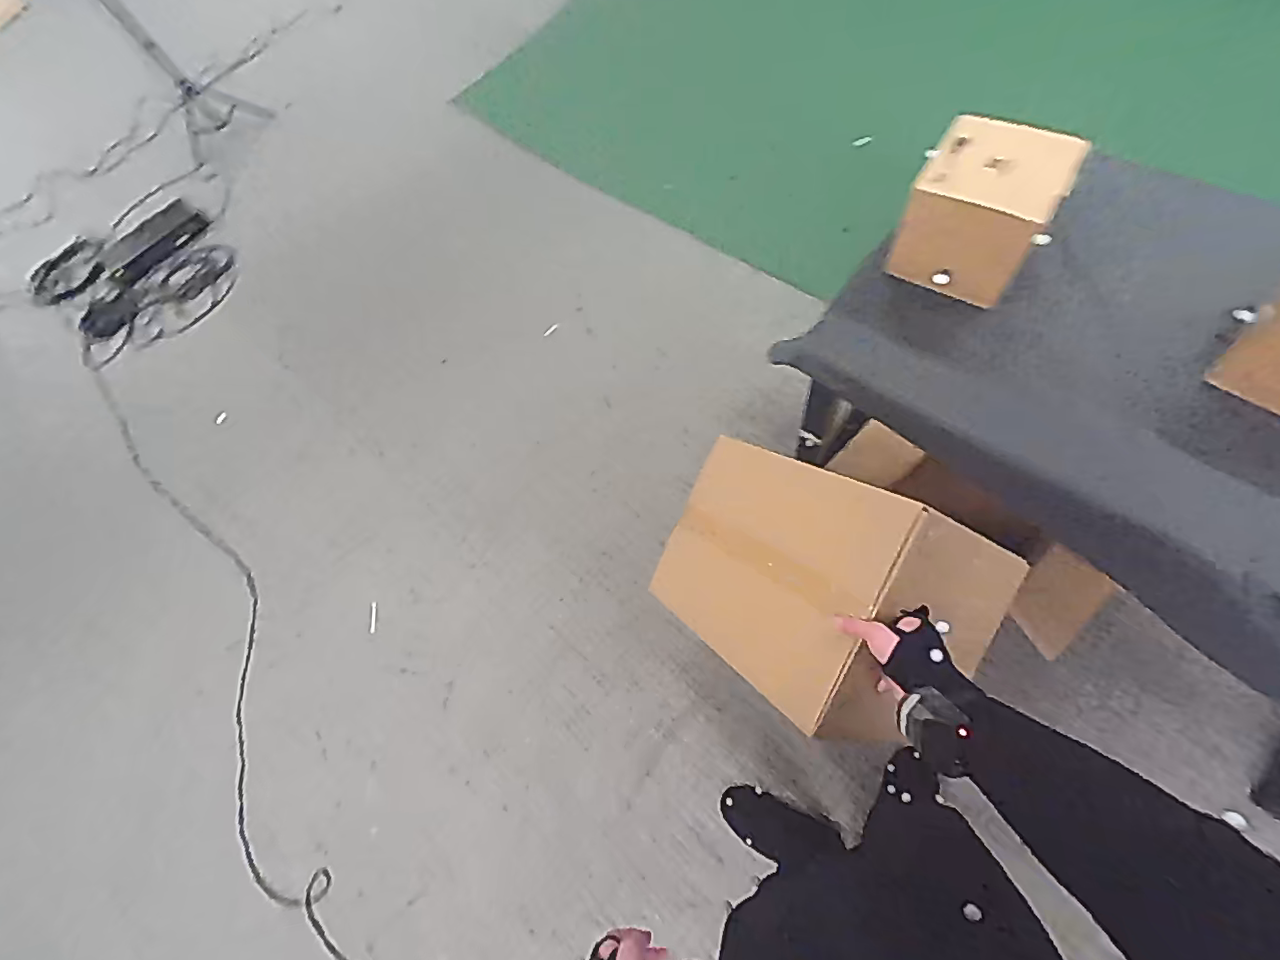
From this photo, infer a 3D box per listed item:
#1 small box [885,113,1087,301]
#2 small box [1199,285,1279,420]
[{"bbox_3d":[0.509,-0.405,0.823,0.179,0.176,0.168,31,76,19],"label":"small box"},{"bbox_3d":[0.878,-0.176,0.664,0.179,0.176,0.168,39,78,23],"label":"small box"}]
